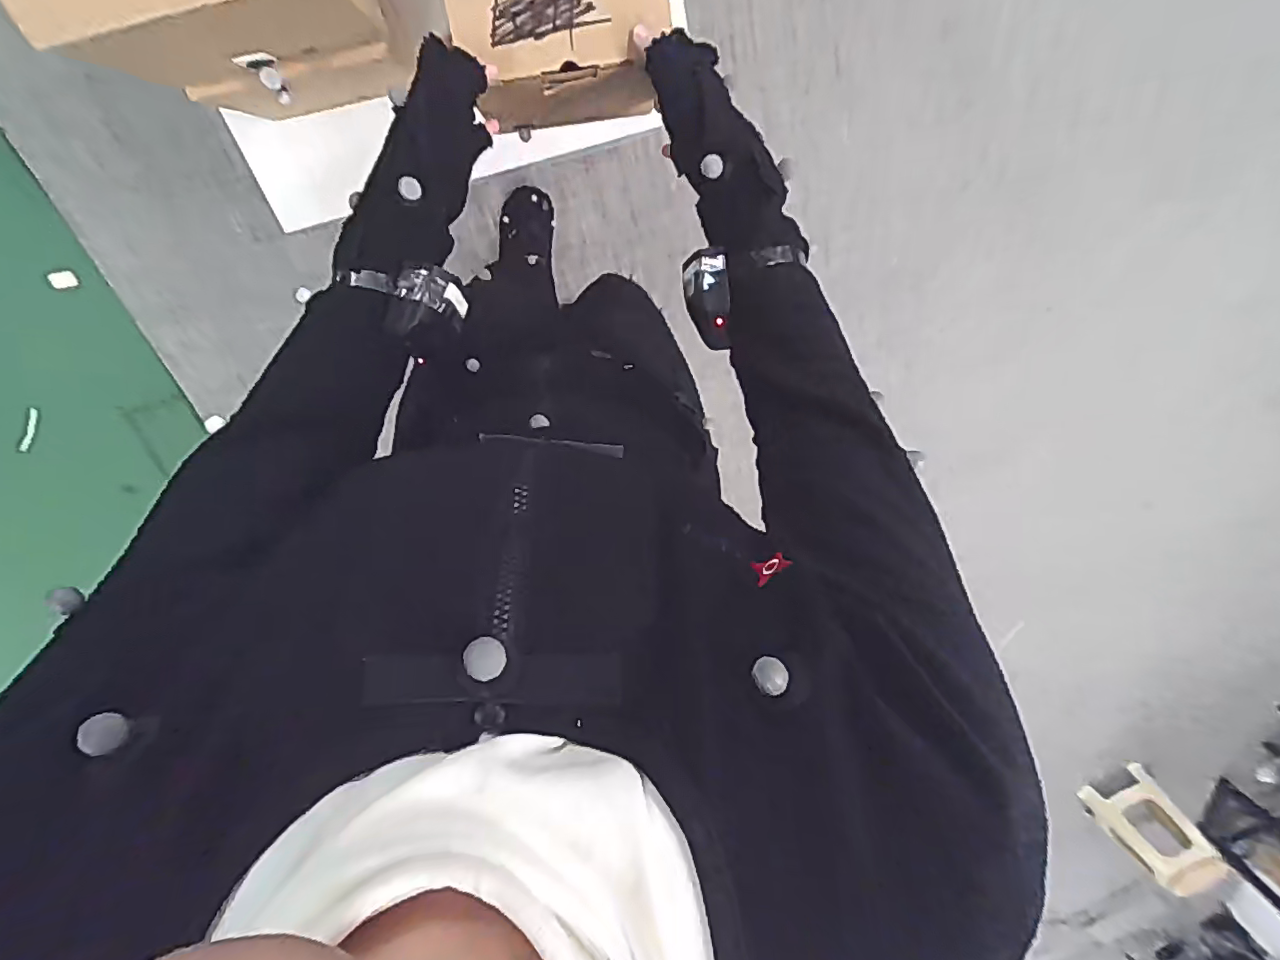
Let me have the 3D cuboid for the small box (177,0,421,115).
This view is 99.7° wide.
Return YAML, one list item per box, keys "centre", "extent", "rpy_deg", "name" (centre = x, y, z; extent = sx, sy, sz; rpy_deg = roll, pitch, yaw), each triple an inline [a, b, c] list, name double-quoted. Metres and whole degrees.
- centre: [-0.314, -0.446, 0.471]
  extent: [0.168, 0.176, 0.179]
  rpy_deg: [-14, 119, -2]
  name: "small box"

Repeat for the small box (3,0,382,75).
- centre: [-0.281, -0.370, 0.313]
  extent: [0.168, 0.176, 0.179]
  rpy_deg: [-17, 121, -2]
  name: "small box"

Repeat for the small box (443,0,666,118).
- centre: [-0.075, -0.430, 0.457]
  extent: [0.168, 0.176, 0.179]
  rpy_deg: [-9, 111, -1]
  name: "small box"
